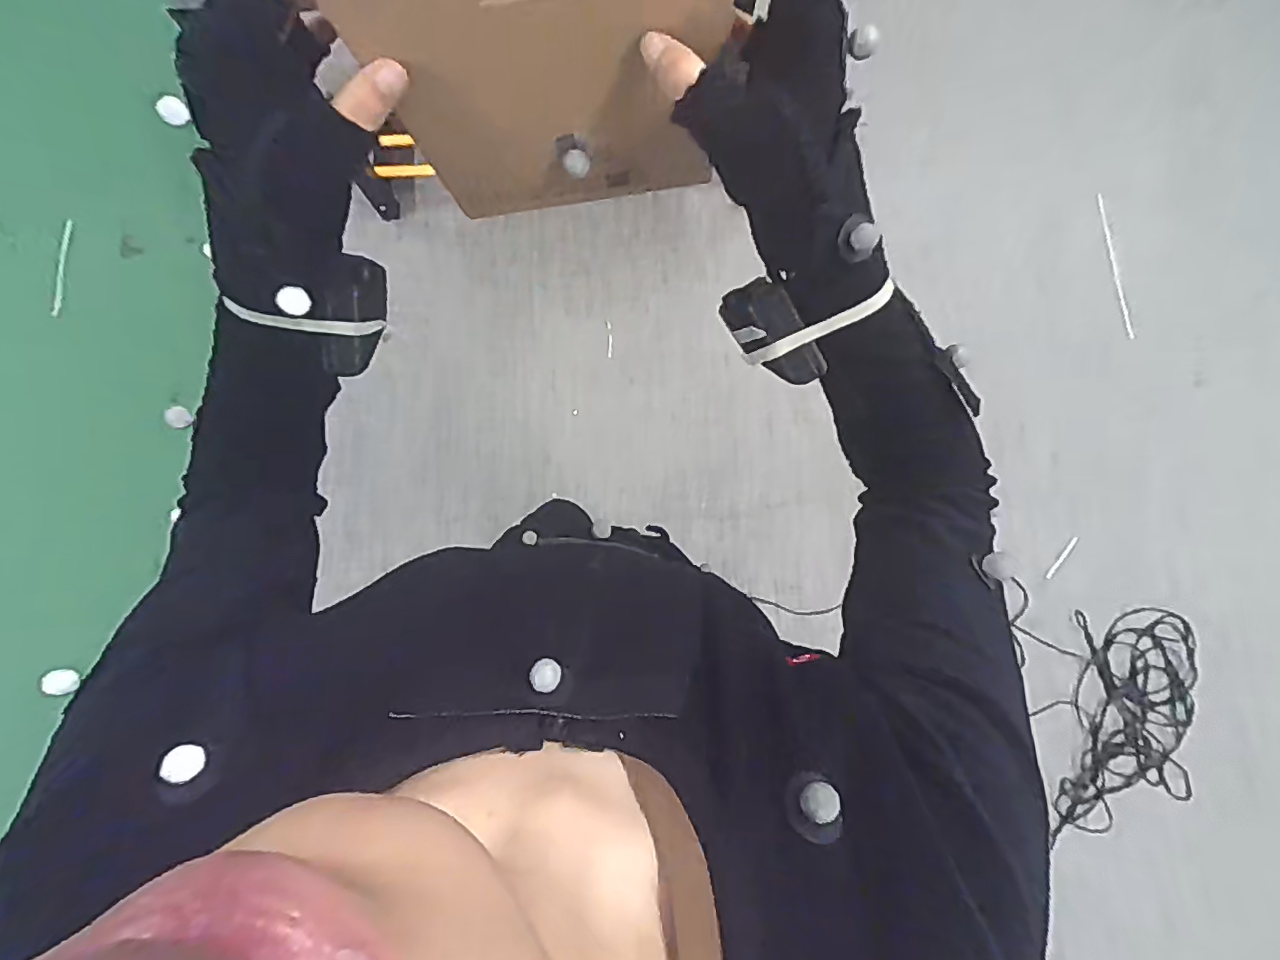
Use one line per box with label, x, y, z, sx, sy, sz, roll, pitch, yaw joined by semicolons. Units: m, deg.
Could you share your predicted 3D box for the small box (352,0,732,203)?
small box;-0.048;-0.279;0.276;0.168;0.176;0.179;-7;86;3
